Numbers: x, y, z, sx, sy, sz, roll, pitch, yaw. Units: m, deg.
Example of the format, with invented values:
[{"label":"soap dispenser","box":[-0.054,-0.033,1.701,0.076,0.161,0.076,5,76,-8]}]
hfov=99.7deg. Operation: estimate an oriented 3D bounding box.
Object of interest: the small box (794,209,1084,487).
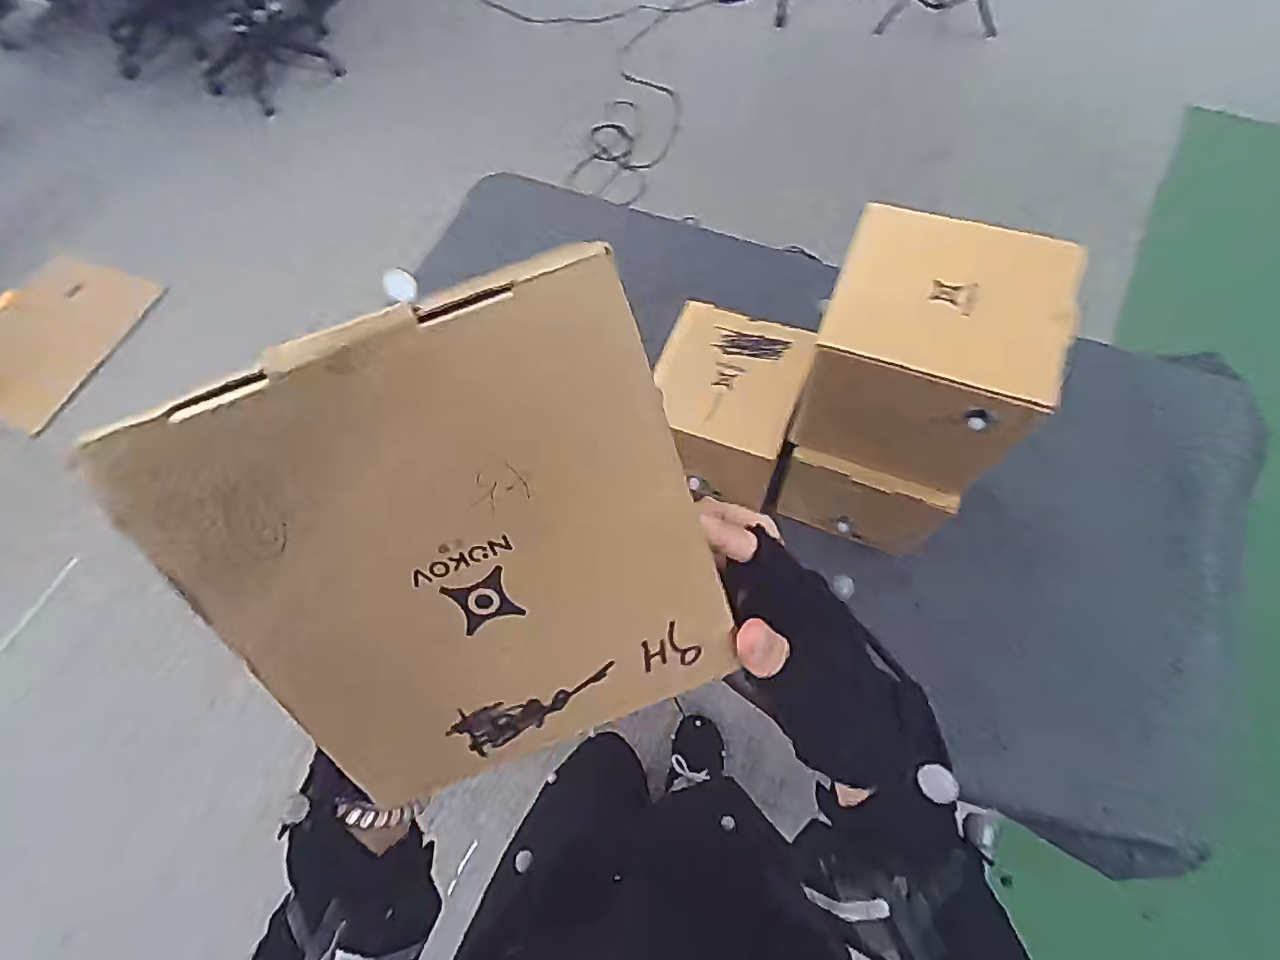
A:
[{"label":"small box","box":[0.260,-0.113,0.508,0.179,0.176,0.168,20,70,14]}]

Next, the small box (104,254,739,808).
[{"label":"small box","box":[-0.072,0.005,0.268,0.168,0.179,0.176,-20,23,-2]}]
